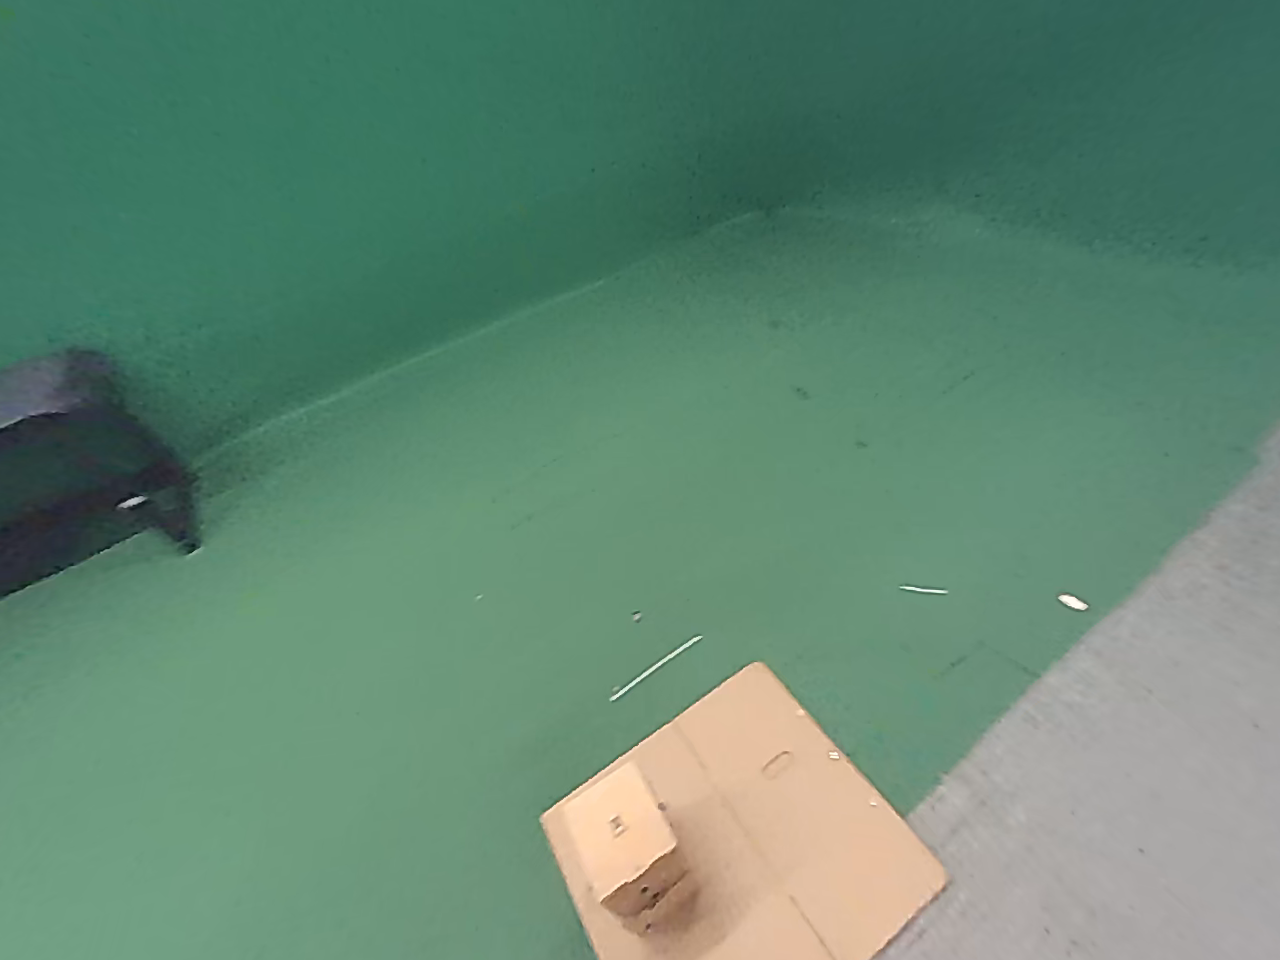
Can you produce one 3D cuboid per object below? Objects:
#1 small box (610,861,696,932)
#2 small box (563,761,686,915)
[{"bbox_3d":[0.003,0.825,1.157,0.168,0.176,0.179,-29,44,-15],"label":"small box"},{"bbox_3d":[-0.028,0.701,1.056,0.168,0.176,0.179,-28,45,-14],"label":"small box"}]
